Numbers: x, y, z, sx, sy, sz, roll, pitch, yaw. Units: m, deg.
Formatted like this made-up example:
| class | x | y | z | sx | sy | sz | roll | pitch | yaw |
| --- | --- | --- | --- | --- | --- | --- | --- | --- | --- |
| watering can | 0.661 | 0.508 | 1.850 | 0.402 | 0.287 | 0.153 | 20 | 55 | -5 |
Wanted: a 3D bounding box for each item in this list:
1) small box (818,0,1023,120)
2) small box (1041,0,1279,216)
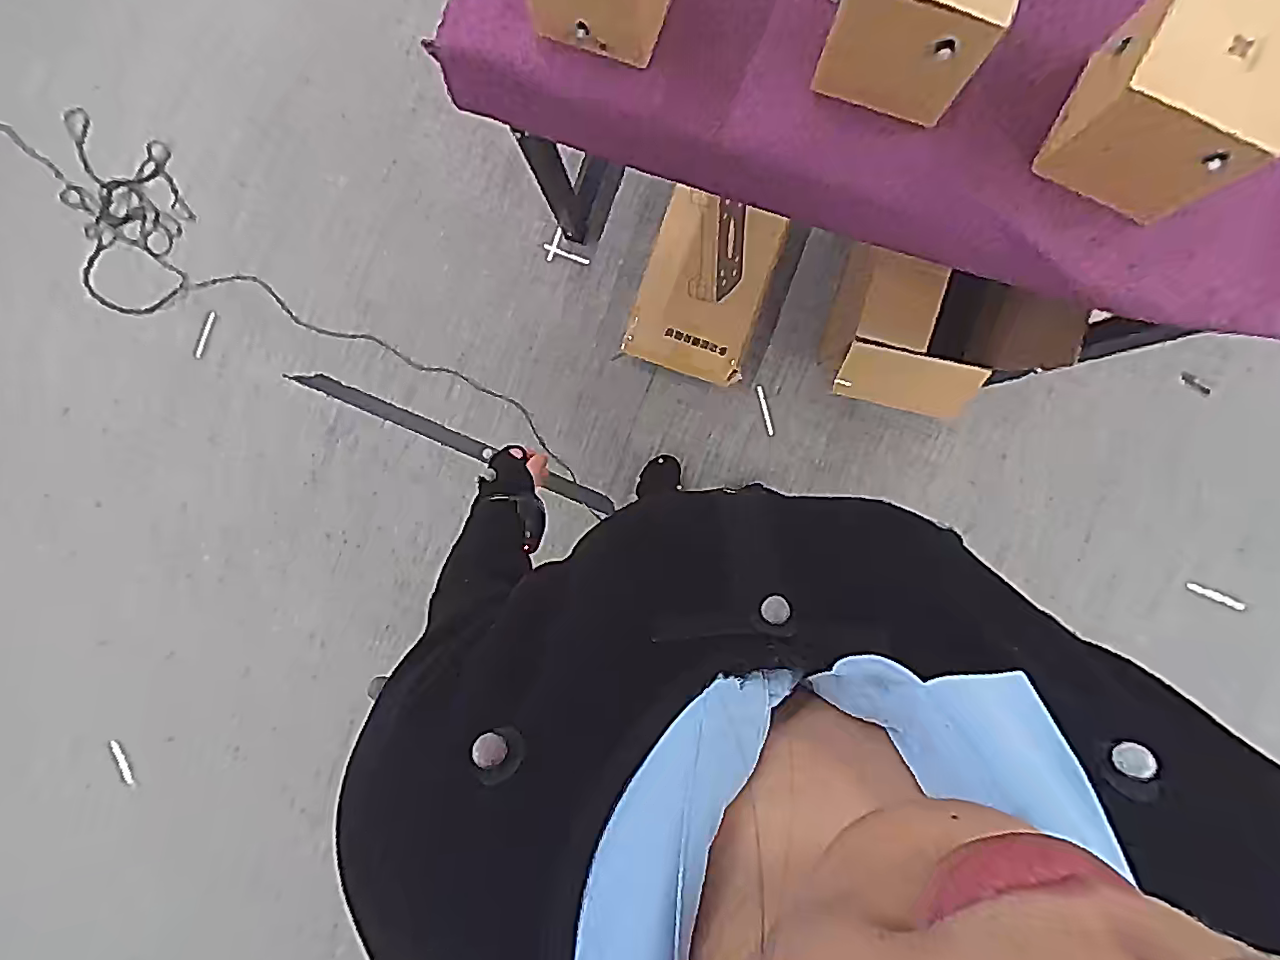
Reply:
| class | x | y | z | sx | sy | sz | roll | pitch | yaw |
| --- | --- | --- | --- | --- | --- | --- | --- | --- | --- |
| small box | 0.341 | -0.577 | 0.647 | 0.179 | 0.176 | 0.168 | 20 | 91 | 3 |
| small box | 0.631 | -0.445 | 0.633 | 0.179 | 0.176 | 0.168 | 27 | 93 | 2 |
